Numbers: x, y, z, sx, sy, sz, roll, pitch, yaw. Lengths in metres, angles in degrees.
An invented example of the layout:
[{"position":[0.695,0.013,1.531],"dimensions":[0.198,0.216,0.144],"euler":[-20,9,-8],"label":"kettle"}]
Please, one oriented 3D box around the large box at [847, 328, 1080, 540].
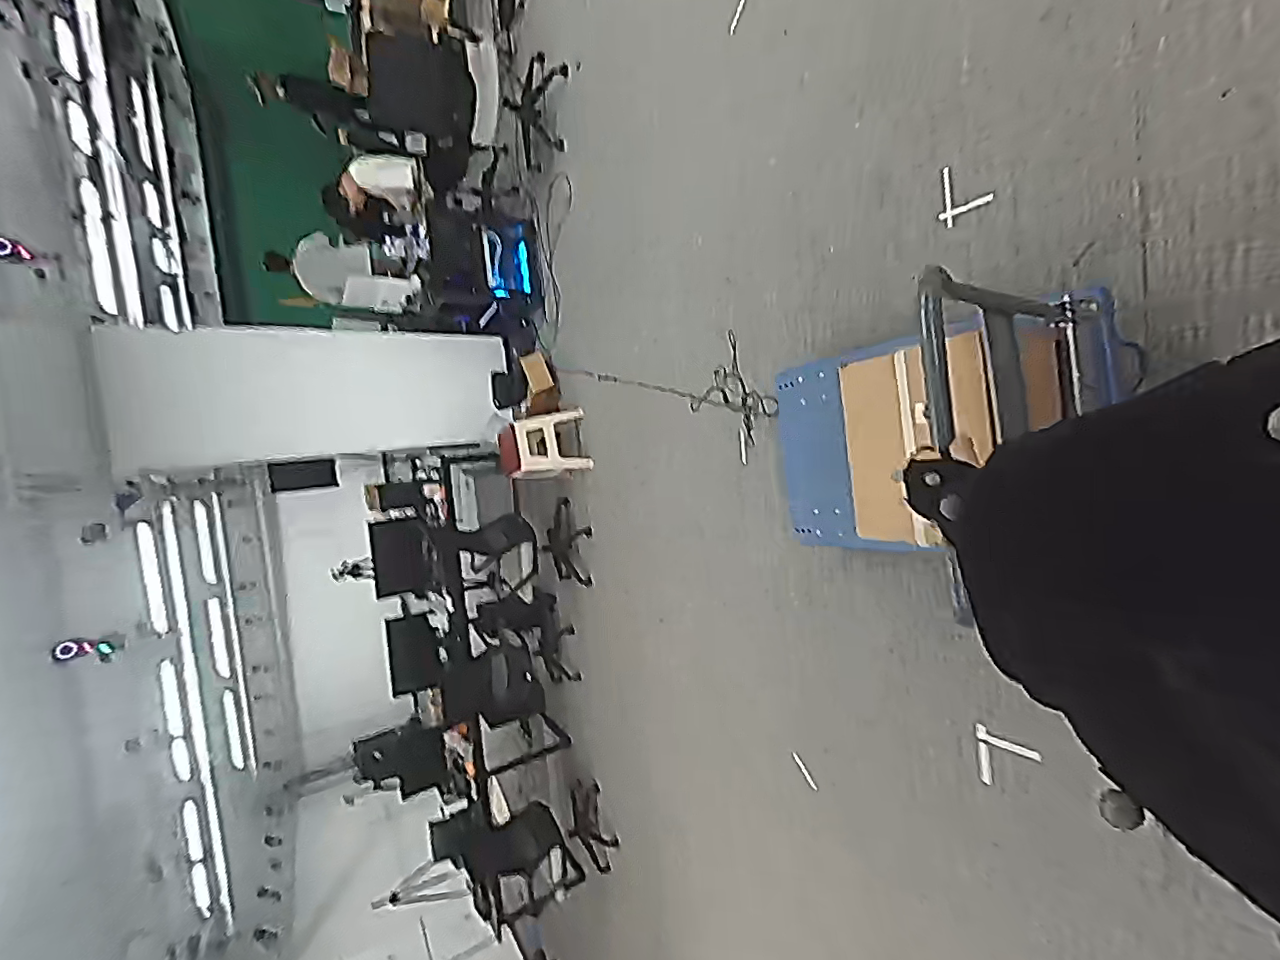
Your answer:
[{"position":[0.706,-0.090,1.194],"dimensions":[0.320,0.320,0.408],"euler":[-5,91,58],"label":"large box"}]
